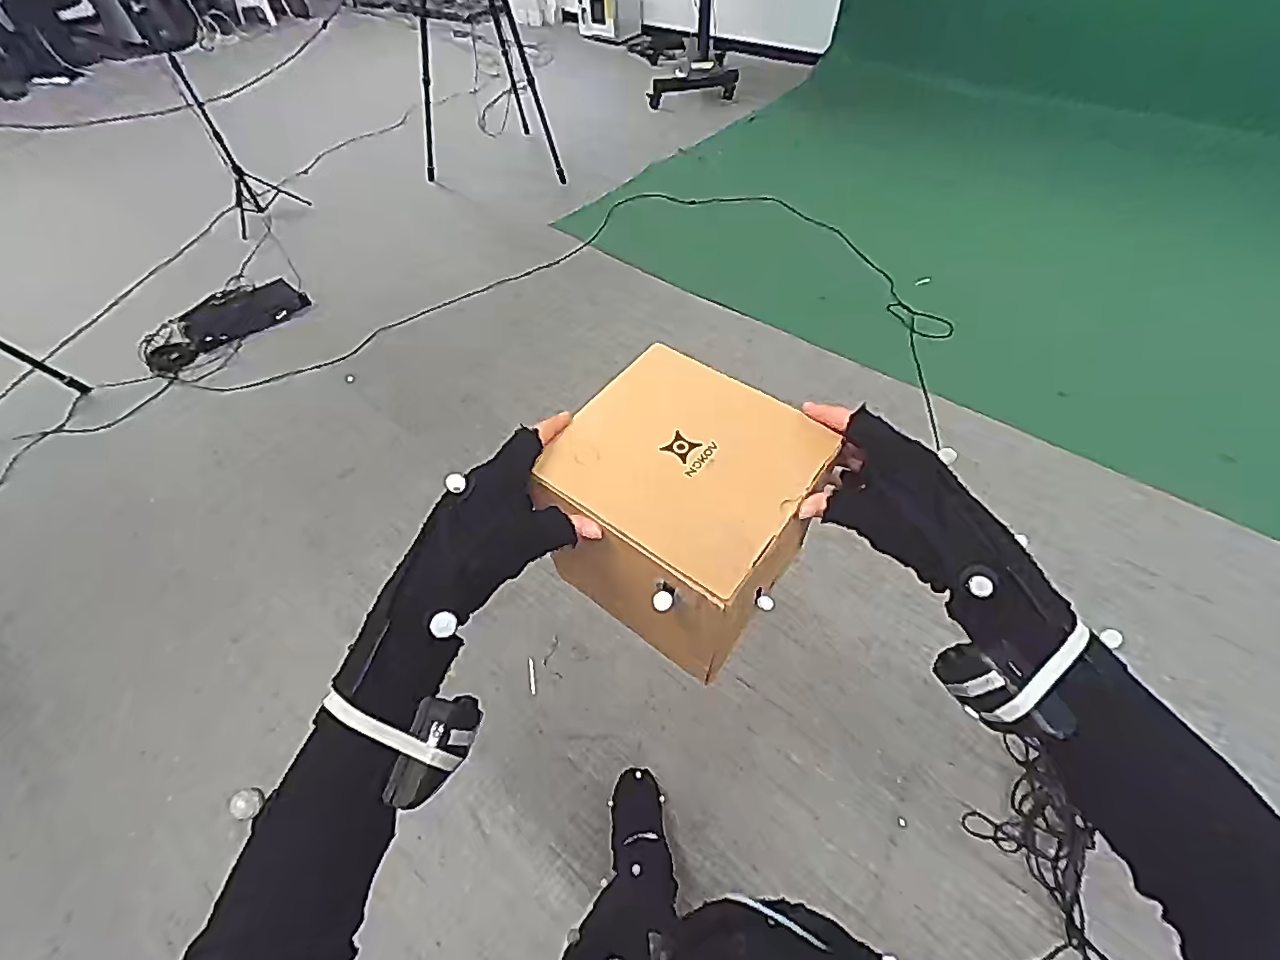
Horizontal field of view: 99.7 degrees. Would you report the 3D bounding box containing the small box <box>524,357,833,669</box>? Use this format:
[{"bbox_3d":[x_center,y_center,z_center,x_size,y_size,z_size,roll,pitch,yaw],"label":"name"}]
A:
[{"bbox_3d":[0.030,0.032,0.465,0.179,0.176,0.168,32,60,21],"label":"small box"}]
